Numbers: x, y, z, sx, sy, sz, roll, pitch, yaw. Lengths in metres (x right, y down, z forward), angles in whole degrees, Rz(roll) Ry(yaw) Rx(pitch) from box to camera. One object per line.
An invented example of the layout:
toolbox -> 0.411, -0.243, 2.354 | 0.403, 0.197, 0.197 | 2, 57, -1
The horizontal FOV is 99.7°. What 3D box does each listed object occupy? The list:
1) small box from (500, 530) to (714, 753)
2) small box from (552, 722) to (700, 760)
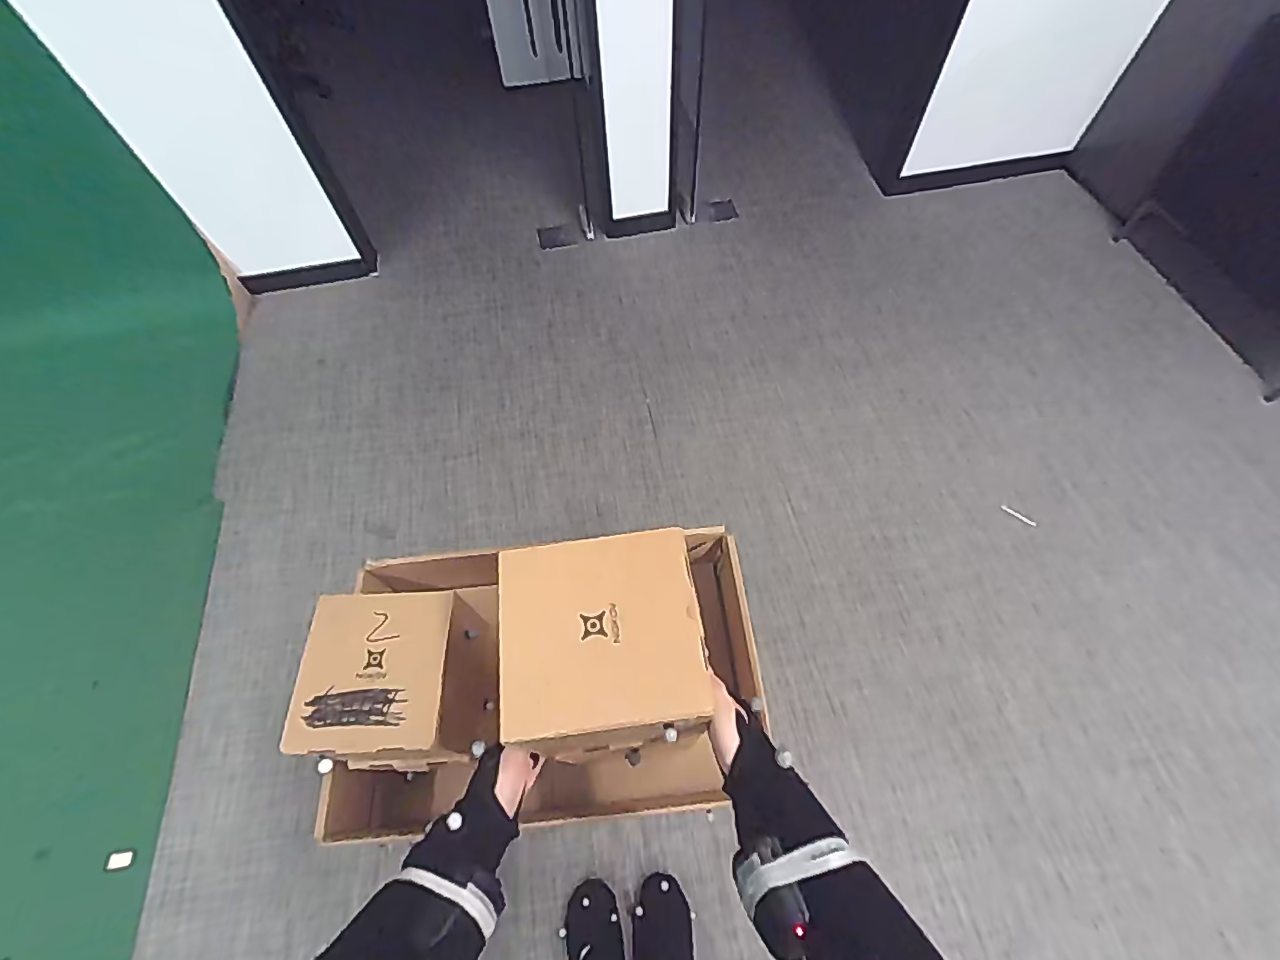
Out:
small box -> -0.031, 0.168, 0.539 | 0.179, 0.176, 0.168 | -7, 60, -3
small box -> -0.022, 0.246, 0.683 | 0.168, 0.176, 0.179 | -8, 62, -3
